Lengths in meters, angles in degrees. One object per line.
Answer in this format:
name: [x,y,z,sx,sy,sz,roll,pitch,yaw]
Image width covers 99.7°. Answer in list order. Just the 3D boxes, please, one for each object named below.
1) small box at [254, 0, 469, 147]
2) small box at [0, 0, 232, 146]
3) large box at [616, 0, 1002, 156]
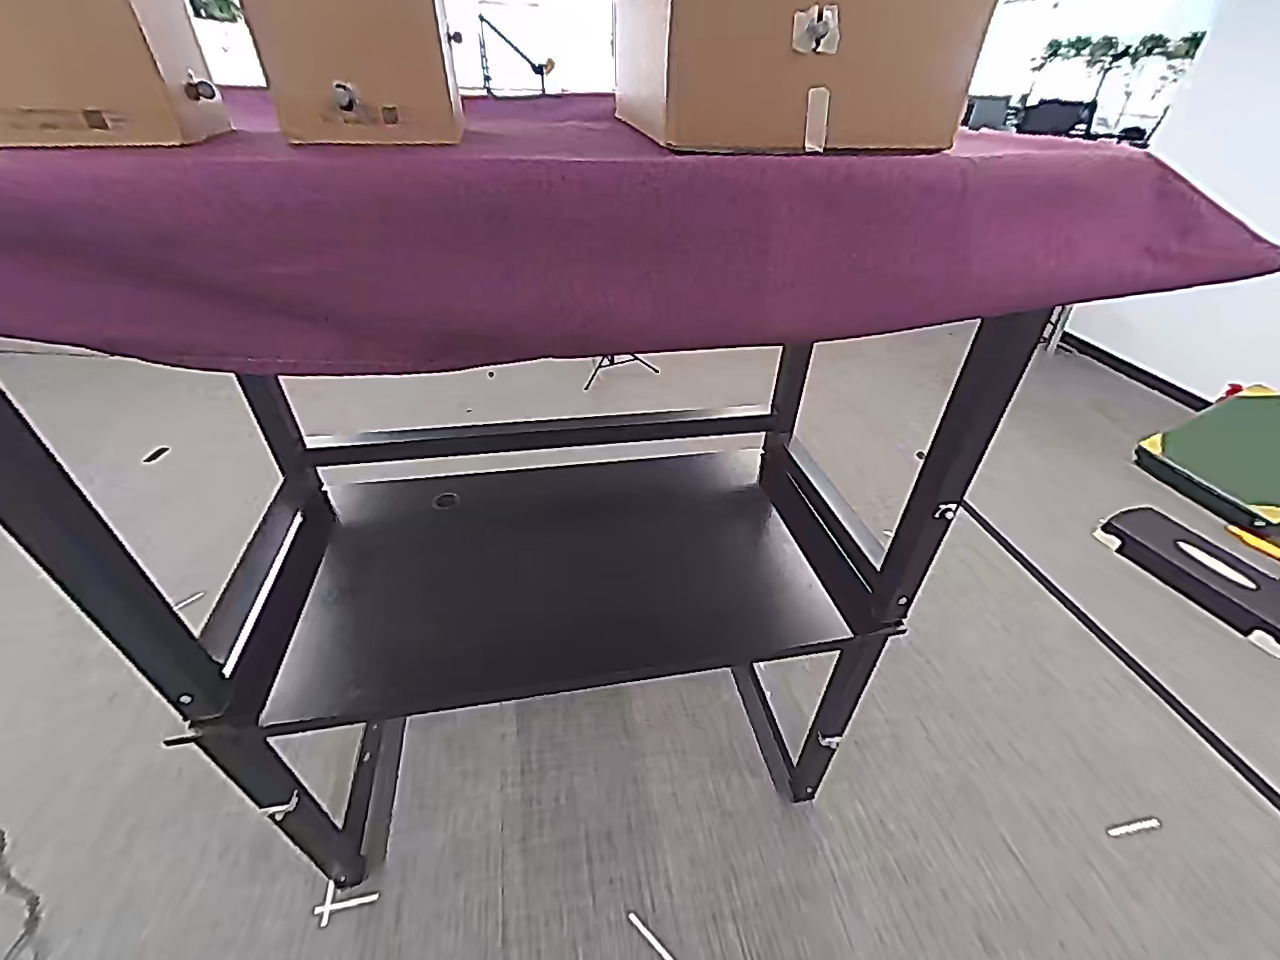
small box: [-0.277,-0.454,0.559,0.168,0.176,0.179,-7,38,-10]
small box: [-0.509,-0.410,0.489,0.168,0.176,0.179,-11,38,-16]
large box: [0.149,-0.562,0.604,0.320,0.320,0.408,-4,37,-8]
